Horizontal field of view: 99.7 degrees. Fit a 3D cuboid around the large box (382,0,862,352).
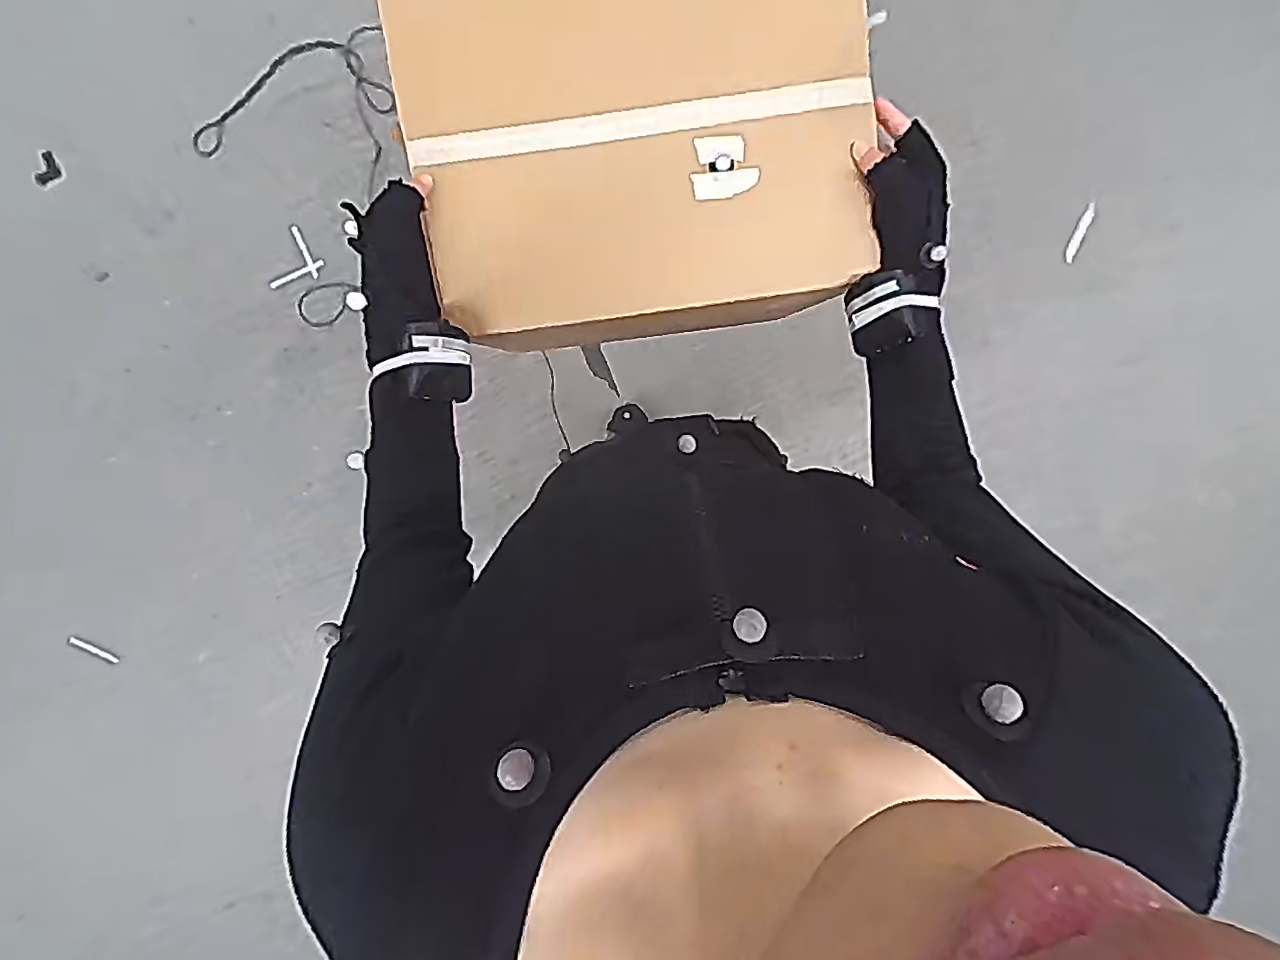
[{"bbox_3d":[-0.013,-0.342,0.632,0.408,0.320,0.320,-9,101,-1],"label":"large box"}]
